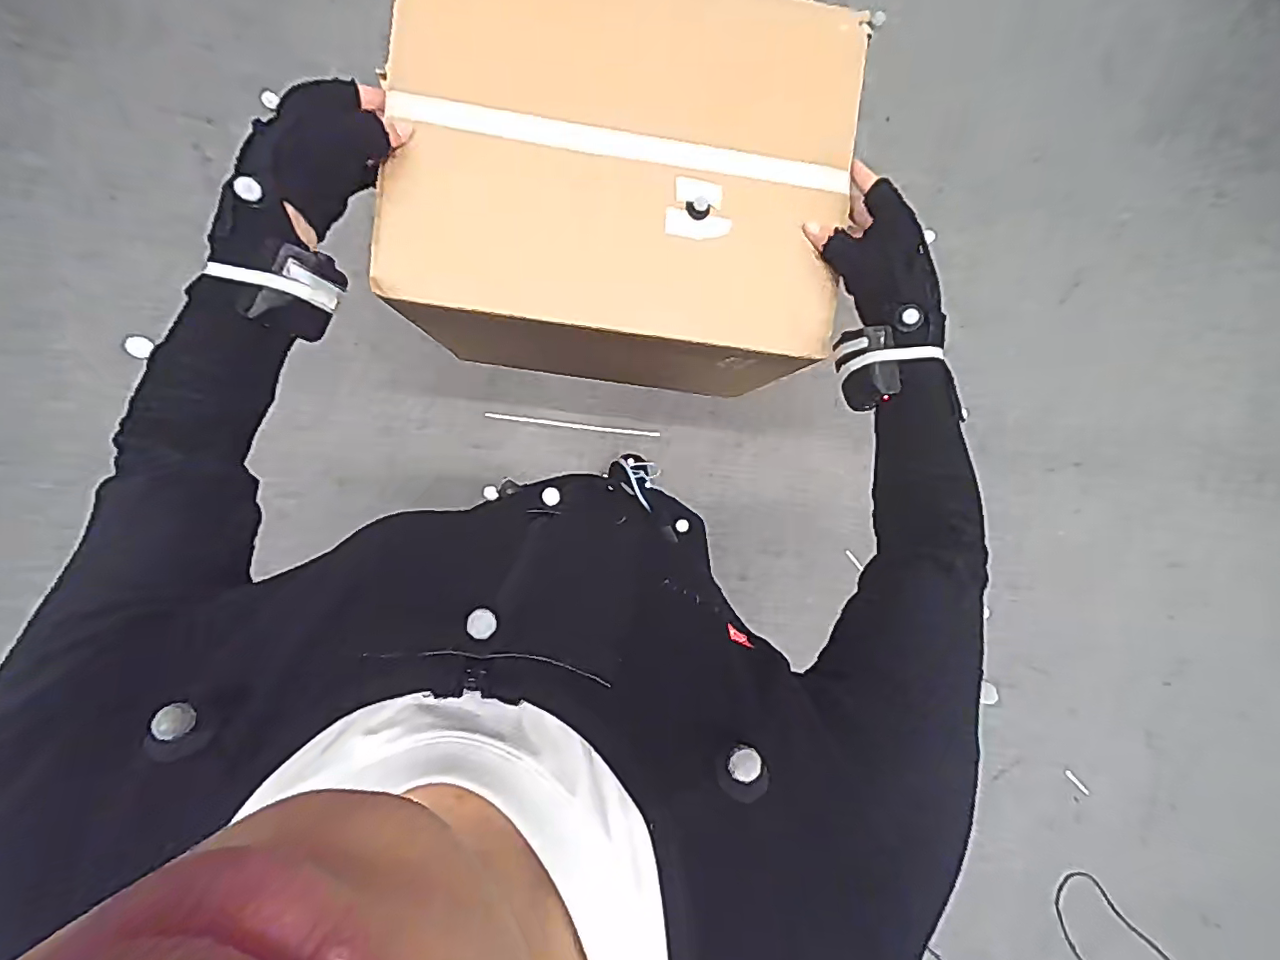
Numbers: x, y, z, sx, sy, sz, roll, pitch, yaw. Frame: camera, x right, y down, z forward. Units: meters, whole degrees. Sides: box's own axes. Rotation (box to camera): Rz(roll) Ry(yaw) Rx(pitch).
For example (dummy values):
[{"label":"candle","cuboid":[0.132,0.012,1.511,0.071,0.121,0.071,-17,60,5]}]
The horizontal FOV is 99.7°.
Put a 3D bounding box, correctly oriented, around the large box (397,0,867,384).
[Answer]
[{"label":"large box","cuboid":[-0.018,-0.304,0.627,0.408,0.320,0.320,6,92,-7]}]
